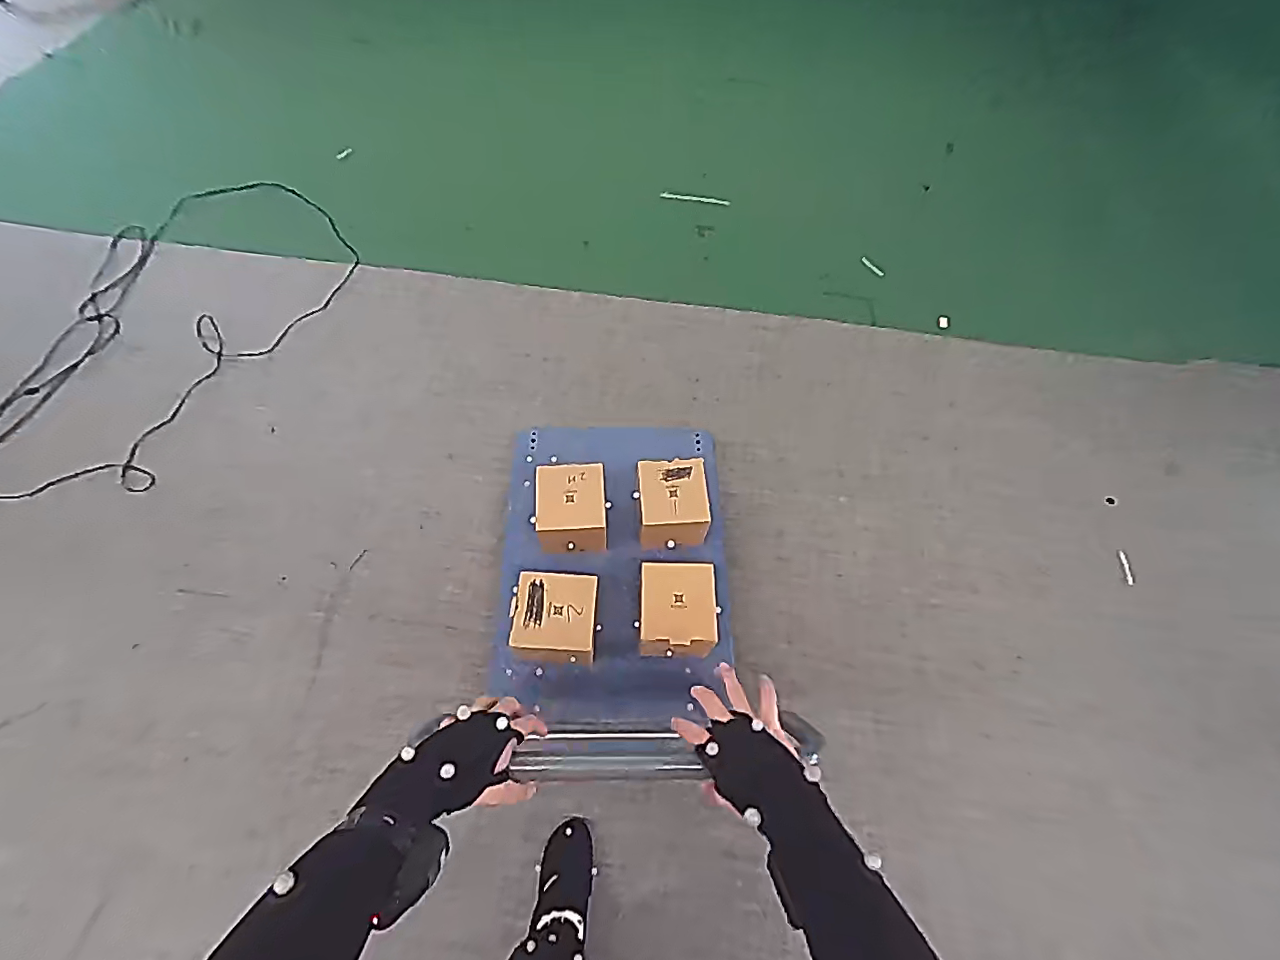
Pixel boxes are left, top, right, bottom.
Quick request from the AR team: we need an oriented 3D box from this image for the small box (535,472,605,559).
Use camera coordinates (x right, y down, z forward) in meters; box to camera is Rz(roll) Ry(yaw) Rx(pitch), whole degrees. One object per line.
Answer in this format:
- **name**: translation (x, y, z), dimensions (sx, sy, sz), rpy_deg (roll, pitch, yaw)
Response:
- **small box**: translation (-0.175, 0.097, 1.388), dimensions (0.168, 0.176, 0.179), rpy_deg (-2, 62, -5)

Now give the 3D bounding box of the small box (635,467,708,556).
- **small box**: translation (0.076, 0.084, 1.407), dimensions (0.168, 0.176, 0.179), rpy_deg (-3, 63, -3)

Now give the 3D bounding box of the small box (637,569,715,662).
- **small box**: translation (0.080, 0.322, 1.278), dimensions (0.168, 0.176, 0.179), rpy_deg (1, 62, -2)
